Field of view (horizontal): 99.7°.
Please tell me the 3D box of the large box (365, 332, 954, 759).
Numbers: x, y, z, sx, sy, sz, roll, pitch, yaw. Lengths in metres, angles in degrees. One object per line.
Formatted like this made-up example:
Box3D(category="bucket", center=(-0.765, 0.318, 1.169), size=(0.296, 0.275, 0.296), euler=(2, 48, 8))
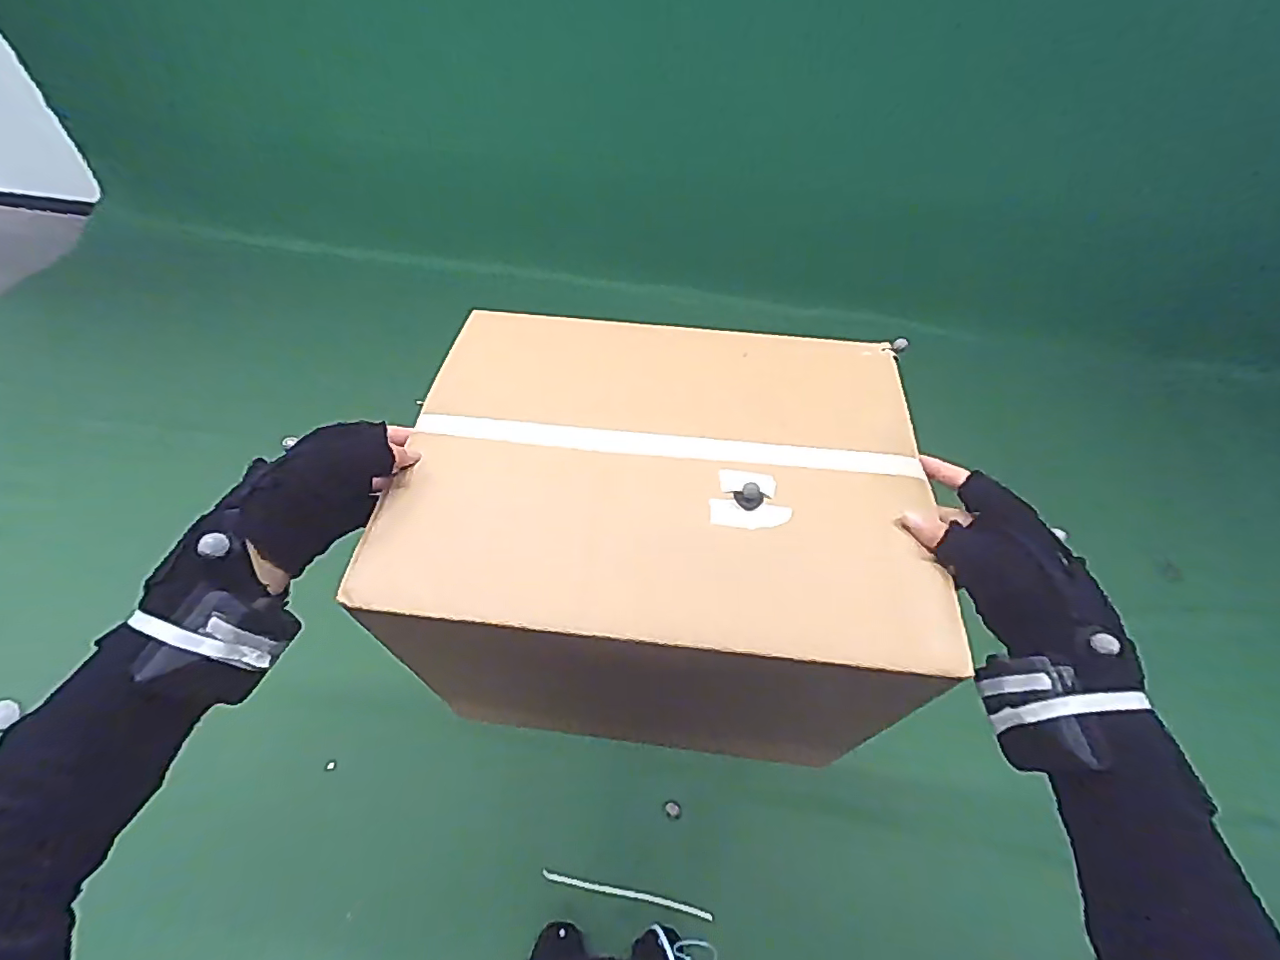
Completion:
Box3D(category="large box", center=(0.019, 0.075, 0.564), size=(0.408, 0.320, 0.320), euler=(5, 53, 4))
